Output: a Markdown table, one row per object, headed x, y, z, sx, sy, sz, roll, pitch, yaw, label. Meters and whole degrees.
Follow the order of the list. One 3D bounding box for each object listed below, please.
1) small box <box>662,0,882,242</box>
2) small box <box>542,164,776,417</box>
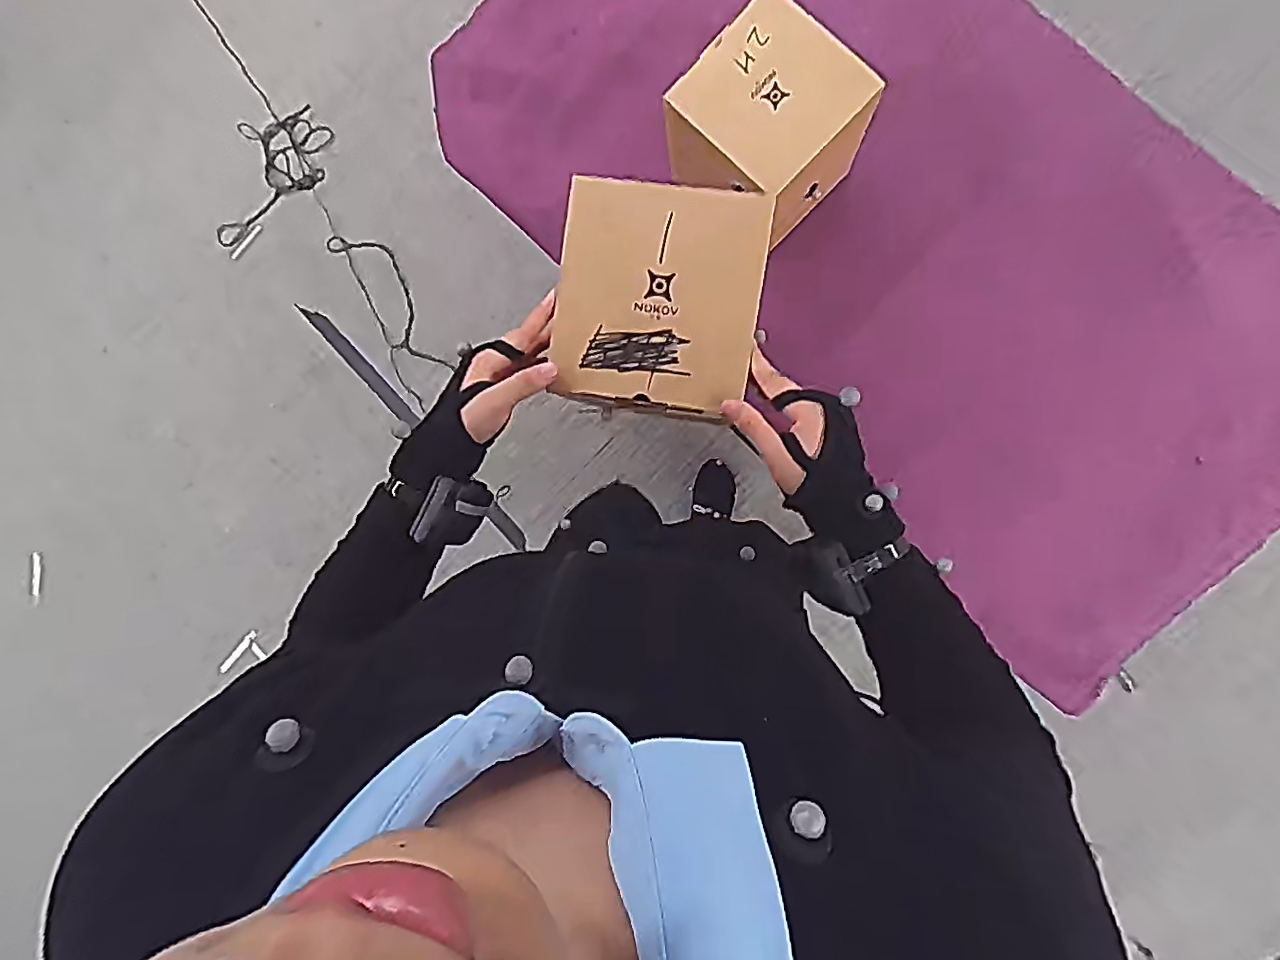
| x | y | z | sx | sy | sz | roll | pitch | yaw | label |
| --- | --- | --- | --- | --- | --- | --- | --- | --- | --- |
| 0.151 | -0.420 | 0.659 | 0.168 | 0.176 | 0.179 | -44 | 84 | 5 | small box |
| 0.020 | -0.158 | 0.507 | 0.168 | 0.176 | 0.179 | 9 | 94 | 5 | small box |
